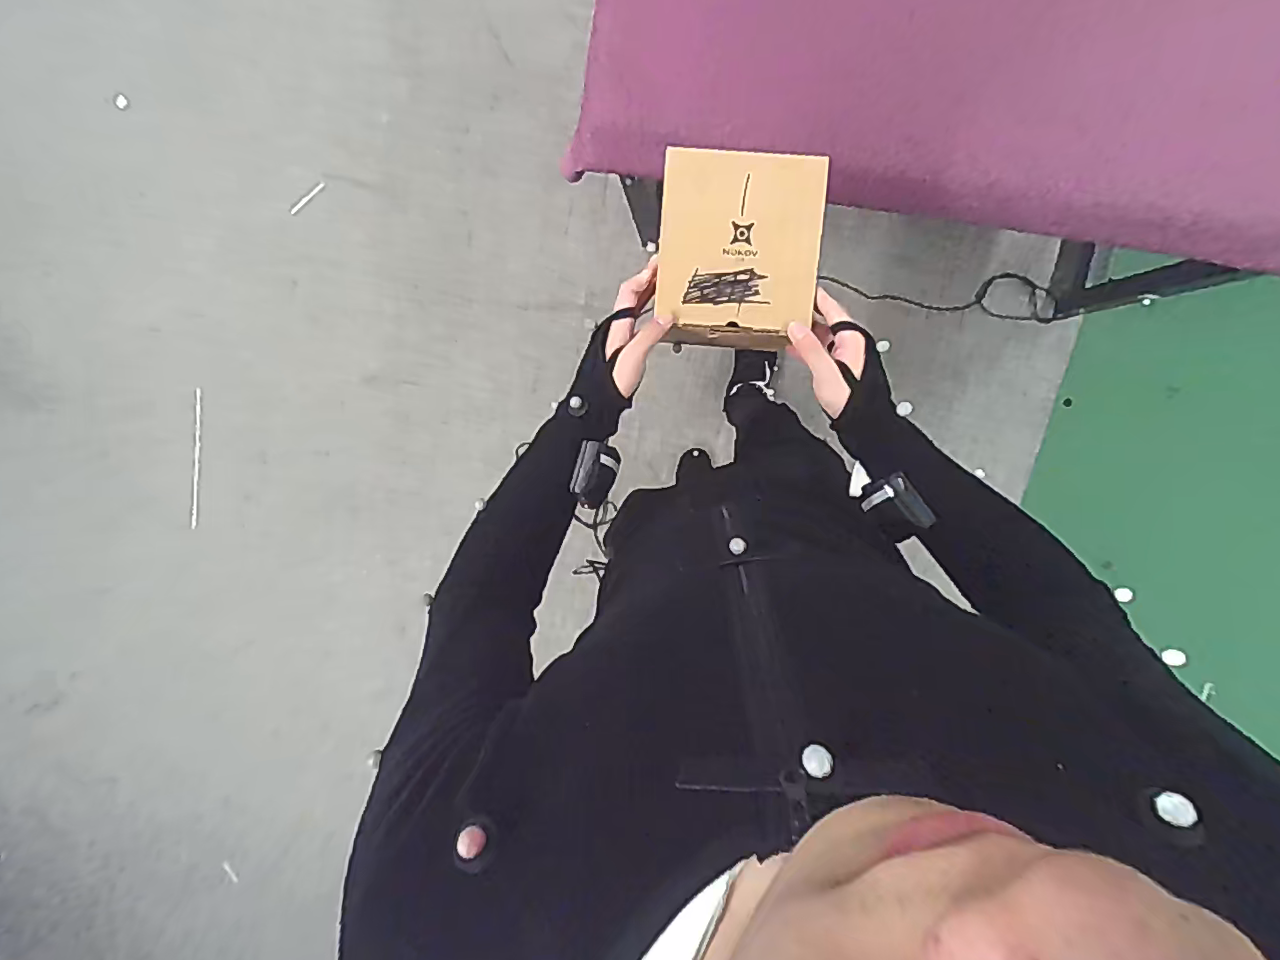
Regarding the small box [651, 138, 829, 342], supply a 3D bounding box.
[{"bbox_3d":[0.103,-0.260,0.628,0.168,0.176,0.179,5,98,0],"label":"small box"}]
